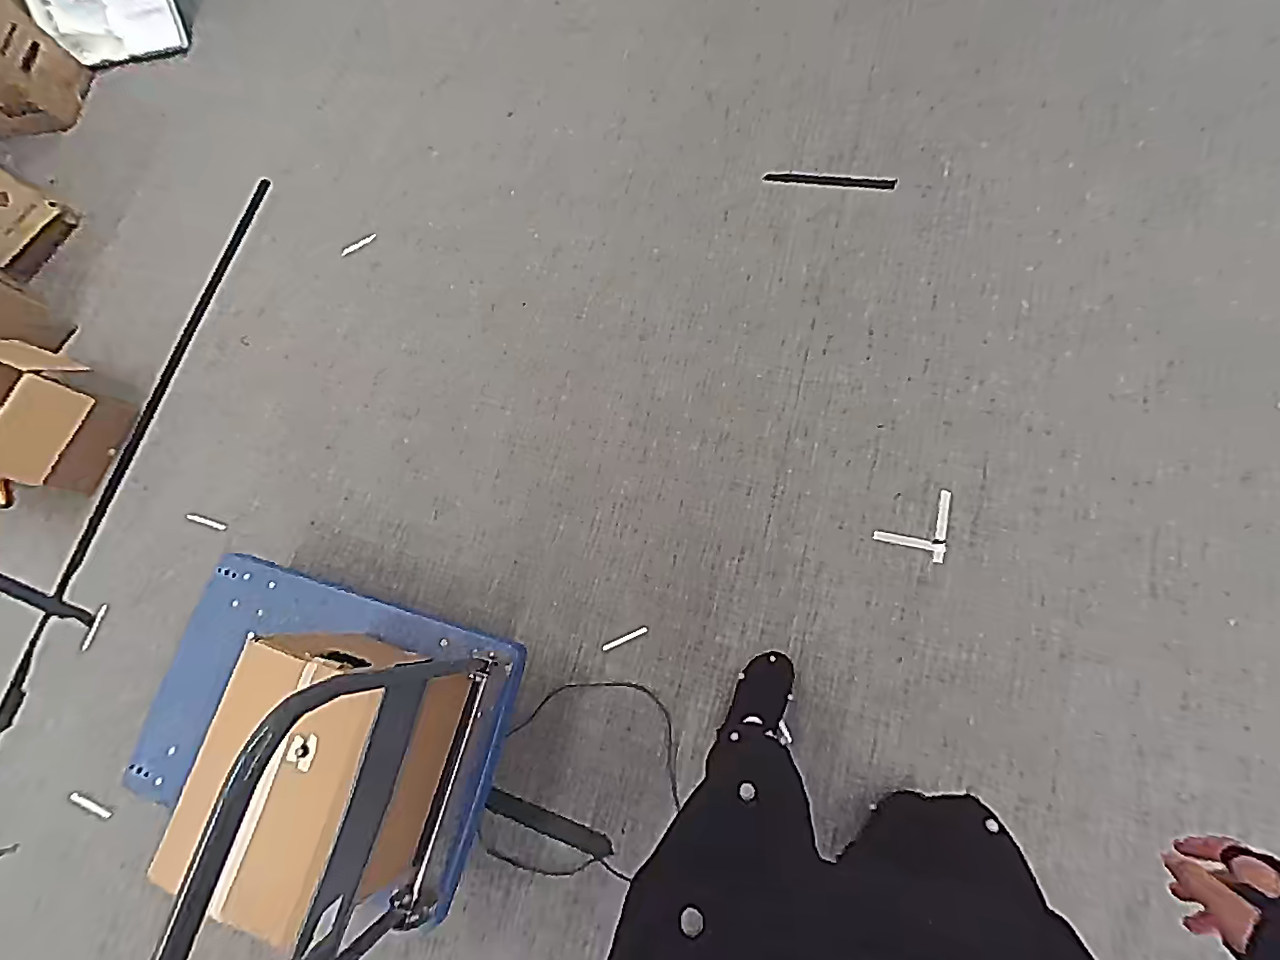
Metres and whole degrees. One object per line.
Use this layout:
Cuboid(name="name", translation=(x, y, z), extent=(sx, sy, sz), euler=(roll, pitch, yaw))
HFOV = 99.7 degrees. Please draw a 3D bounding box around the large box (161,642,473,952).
Cuboid(name="large box", translation=(-0.586, 0.558, 1.054), extent=(0.320, 0.320, 0.408), euler=(13, 76, 13))
